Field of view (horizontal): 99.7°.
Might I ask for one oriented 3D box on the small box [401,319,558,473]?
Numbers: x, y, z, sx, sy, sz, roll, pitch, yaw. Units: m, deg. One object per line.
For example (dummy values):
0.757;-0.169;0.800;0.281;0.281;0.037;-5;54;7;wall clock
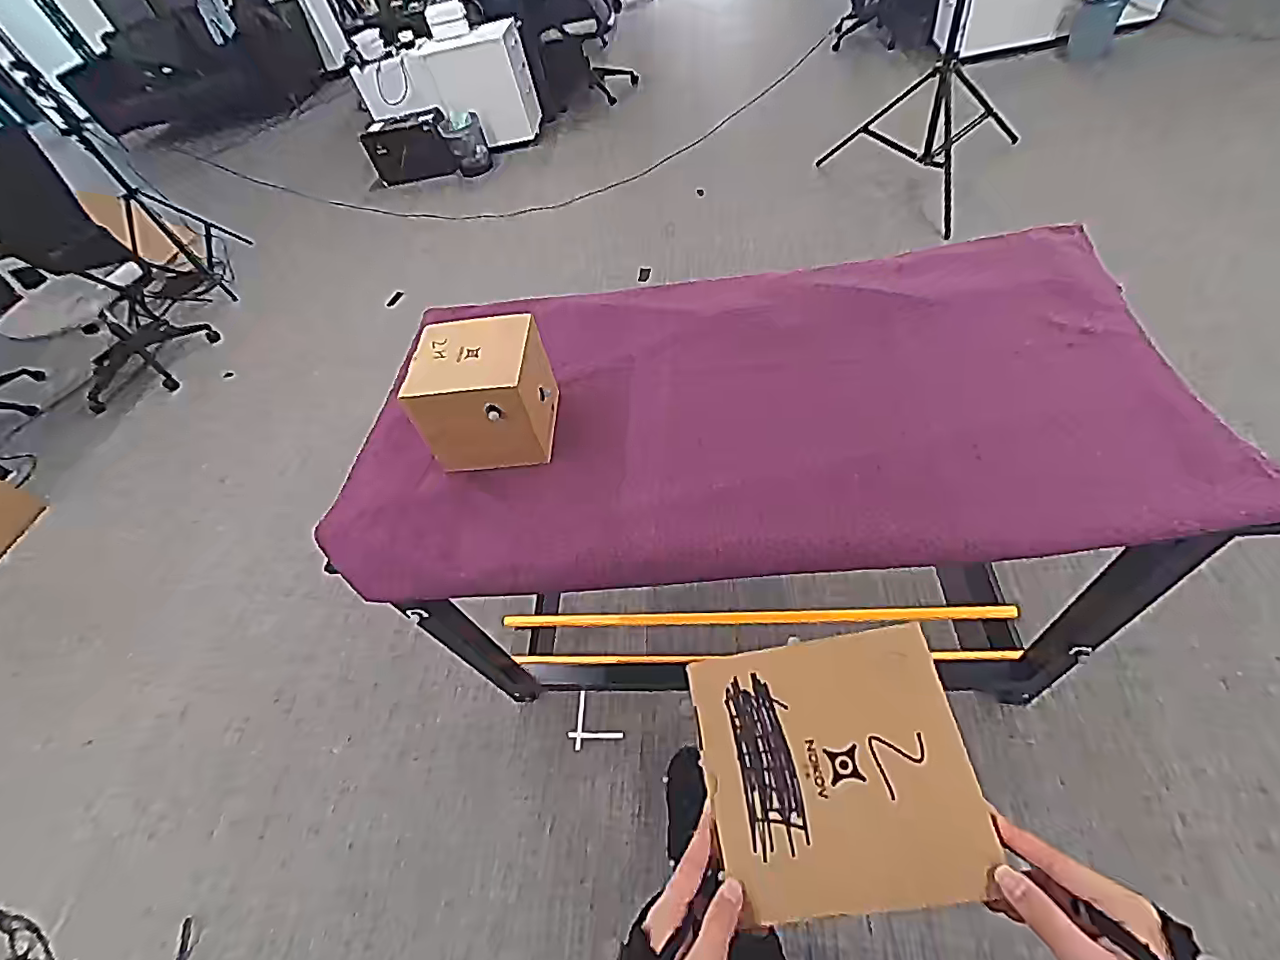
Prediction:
-0.236;-0.127;0.853;0.179;0.176;0.168;-5;51;7;small box
